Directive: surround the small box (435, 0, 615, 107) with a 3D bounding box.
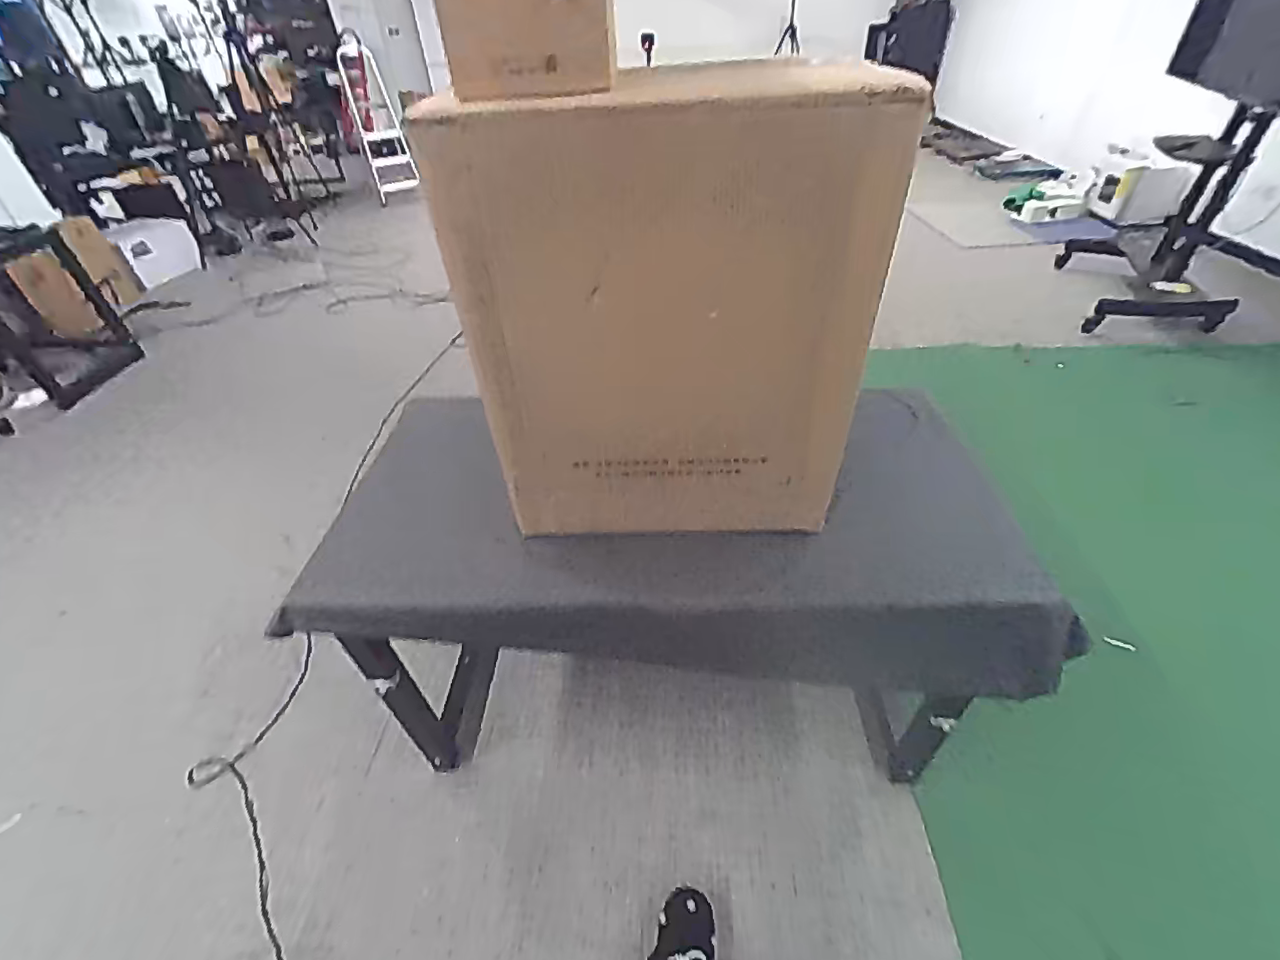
[{"bbox_3d":[-0.114,-0.507,0.575,0.168,0.176,0.179,-1,42,0],"label":"small box"}]
